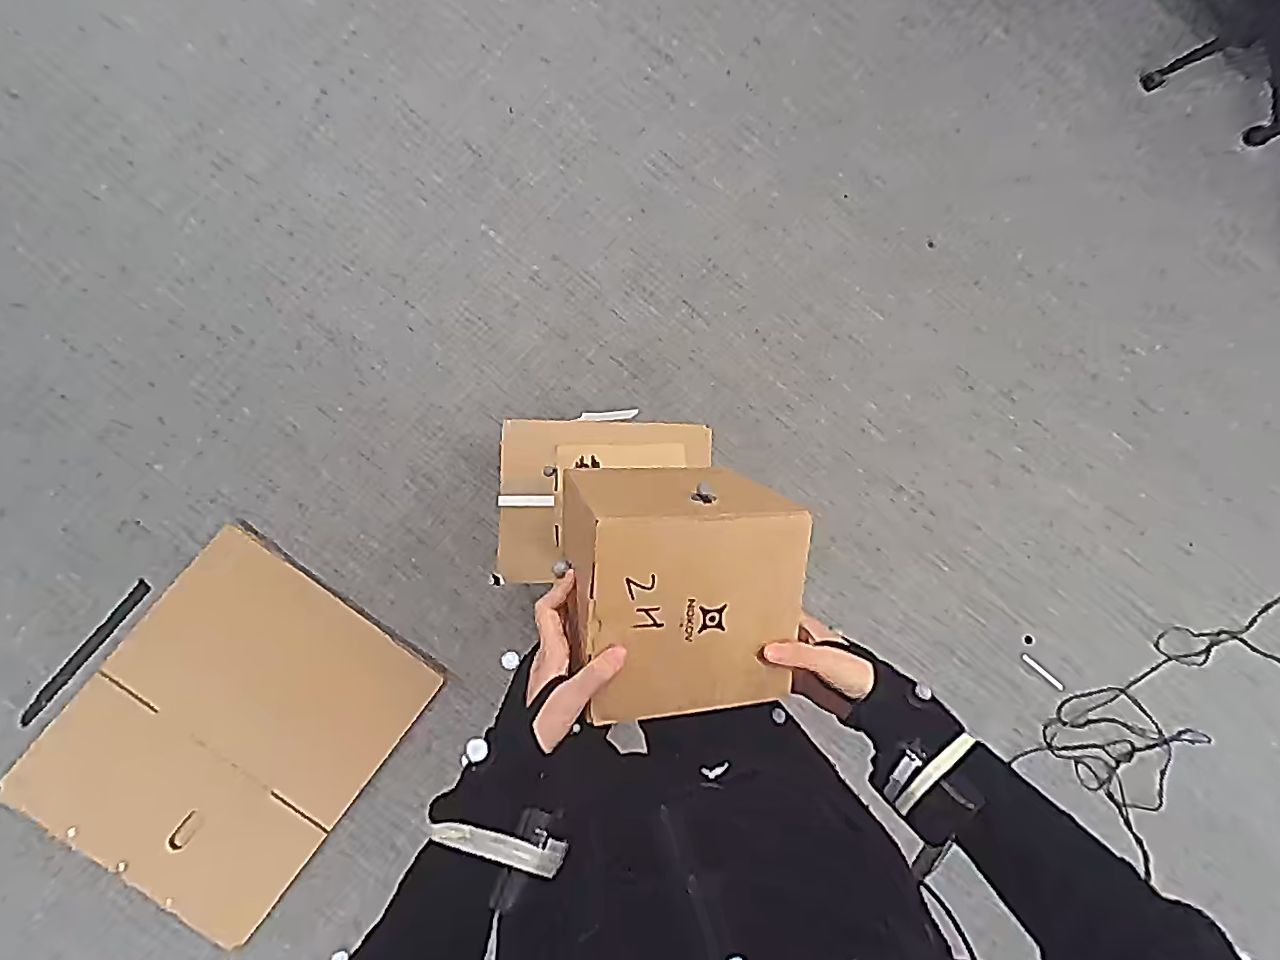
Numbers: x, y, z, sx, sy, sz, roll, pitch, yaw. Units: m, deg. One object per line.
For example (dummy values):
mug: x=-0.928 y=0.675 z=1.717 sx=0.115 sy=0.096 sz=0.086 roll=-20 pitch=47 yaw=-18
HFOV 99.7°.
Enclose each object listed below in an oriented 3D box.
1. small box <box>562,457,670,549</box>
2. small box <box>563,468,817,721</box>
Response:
small box: x=-0.044 y=0.051 z=0.947 sx=0.179 sy=0.176 sz=0.168 roll=-2 pitch=86 yaw=-8
small box: x=0.031 y=0.084 z=0.491 sx=0.179 sy=0.176 sz=0.168 roll=-1 pitch=103 yaw=-16
